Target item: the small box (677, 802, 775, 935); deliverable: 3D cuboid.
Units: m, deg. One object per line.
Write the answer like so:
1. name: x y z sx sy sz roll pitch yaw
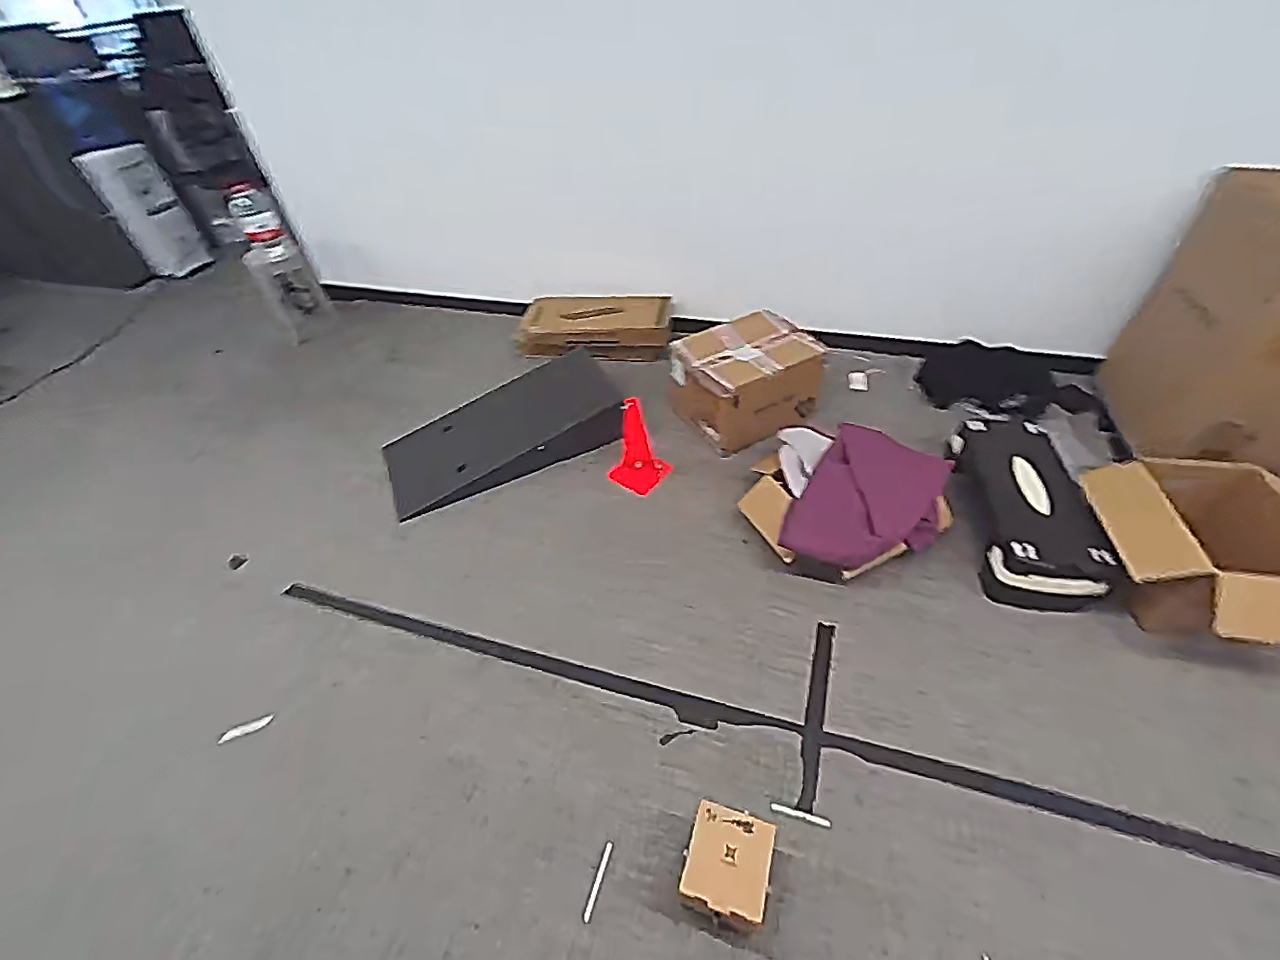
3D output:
1. small box: 0.185 0.830 1.151 0.168 0.176 0.179 12 48 17
